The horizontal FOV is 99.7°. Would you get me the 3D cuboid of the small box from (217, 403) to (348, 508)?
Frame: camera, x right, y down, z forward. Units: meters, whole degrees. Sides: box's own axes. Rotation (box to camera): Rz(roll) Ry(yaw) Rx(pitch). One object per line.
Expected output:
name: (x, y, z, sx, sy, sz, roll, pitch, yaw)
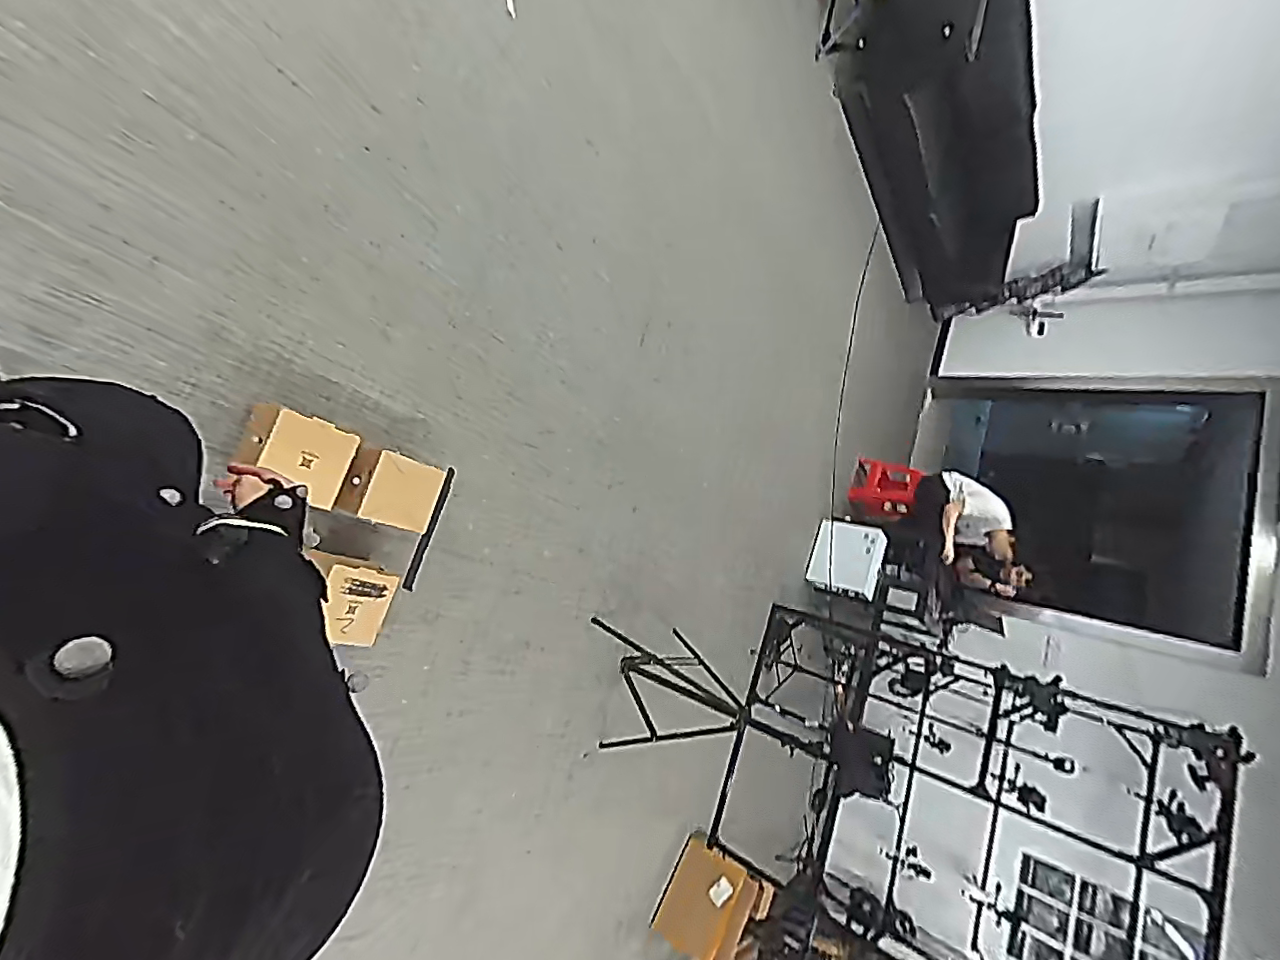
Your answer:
small box: (-0.781, -0.056, 1.175, 0.168, 0.176, 0.179, 31, 73, -50)
